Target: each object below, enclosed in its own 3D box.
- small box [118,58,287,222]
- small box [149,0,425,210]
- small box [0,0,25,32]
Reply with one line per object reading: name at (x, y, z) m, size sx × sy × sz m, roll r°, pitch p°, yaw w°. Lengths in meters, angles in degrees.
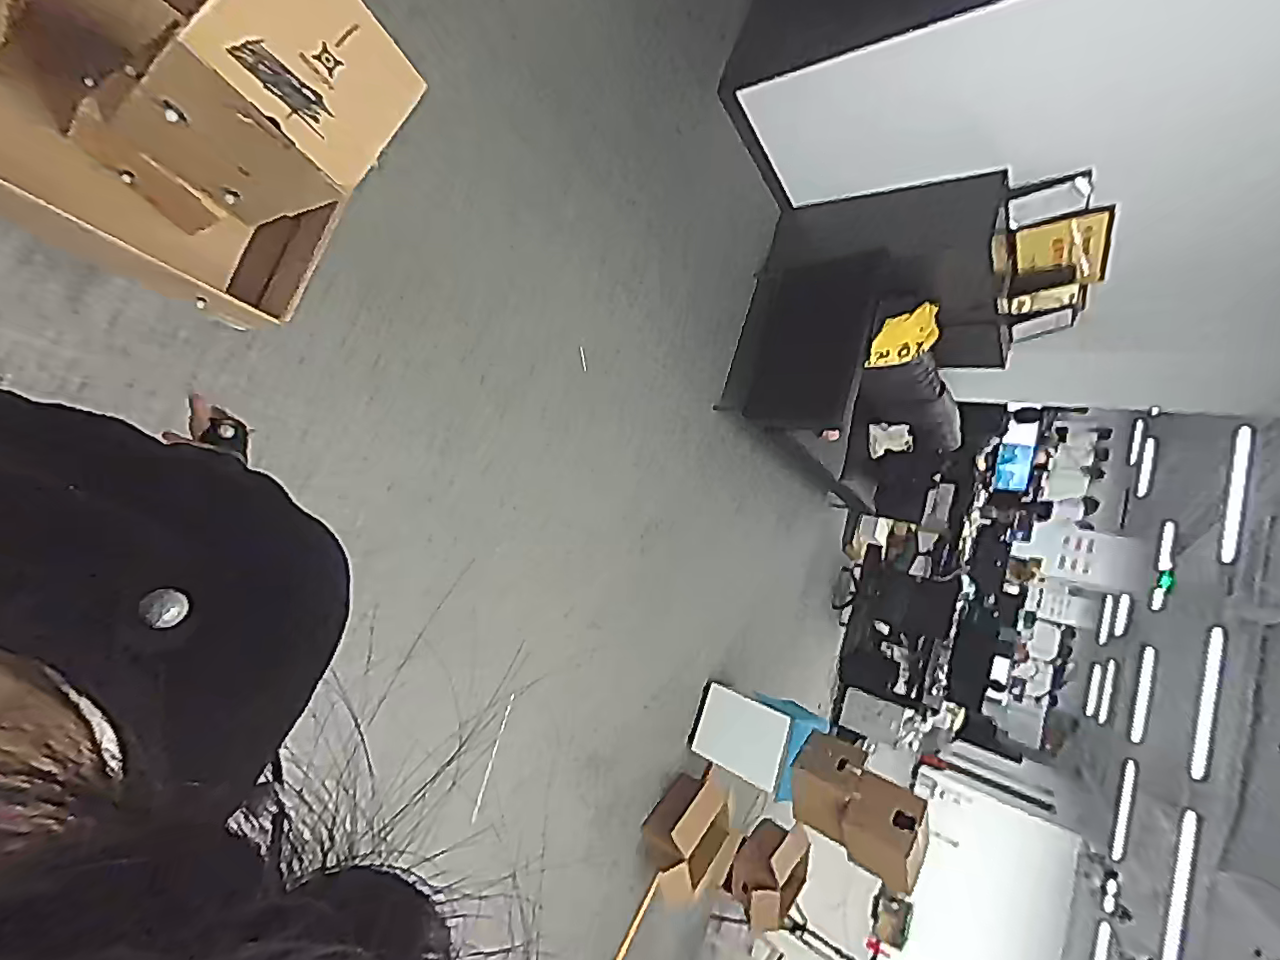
small box at (-0.507, -0.456, 0.682) m, size 0.168 × 0.176 × 0.179 m, roll 40°, pitch 69°, yaw -49°
small box at (-0.379, -0.424, 0.584) m, size 0.168 × 0.176 × 0.179 m, roll 44°, pitch 65°, yaw -48°
small box at (-0.644, -0.558, 0.478) m, size 0.168 × 0.176 × 0.179 m, roll 27°, pitch 79°, yaw -52°
